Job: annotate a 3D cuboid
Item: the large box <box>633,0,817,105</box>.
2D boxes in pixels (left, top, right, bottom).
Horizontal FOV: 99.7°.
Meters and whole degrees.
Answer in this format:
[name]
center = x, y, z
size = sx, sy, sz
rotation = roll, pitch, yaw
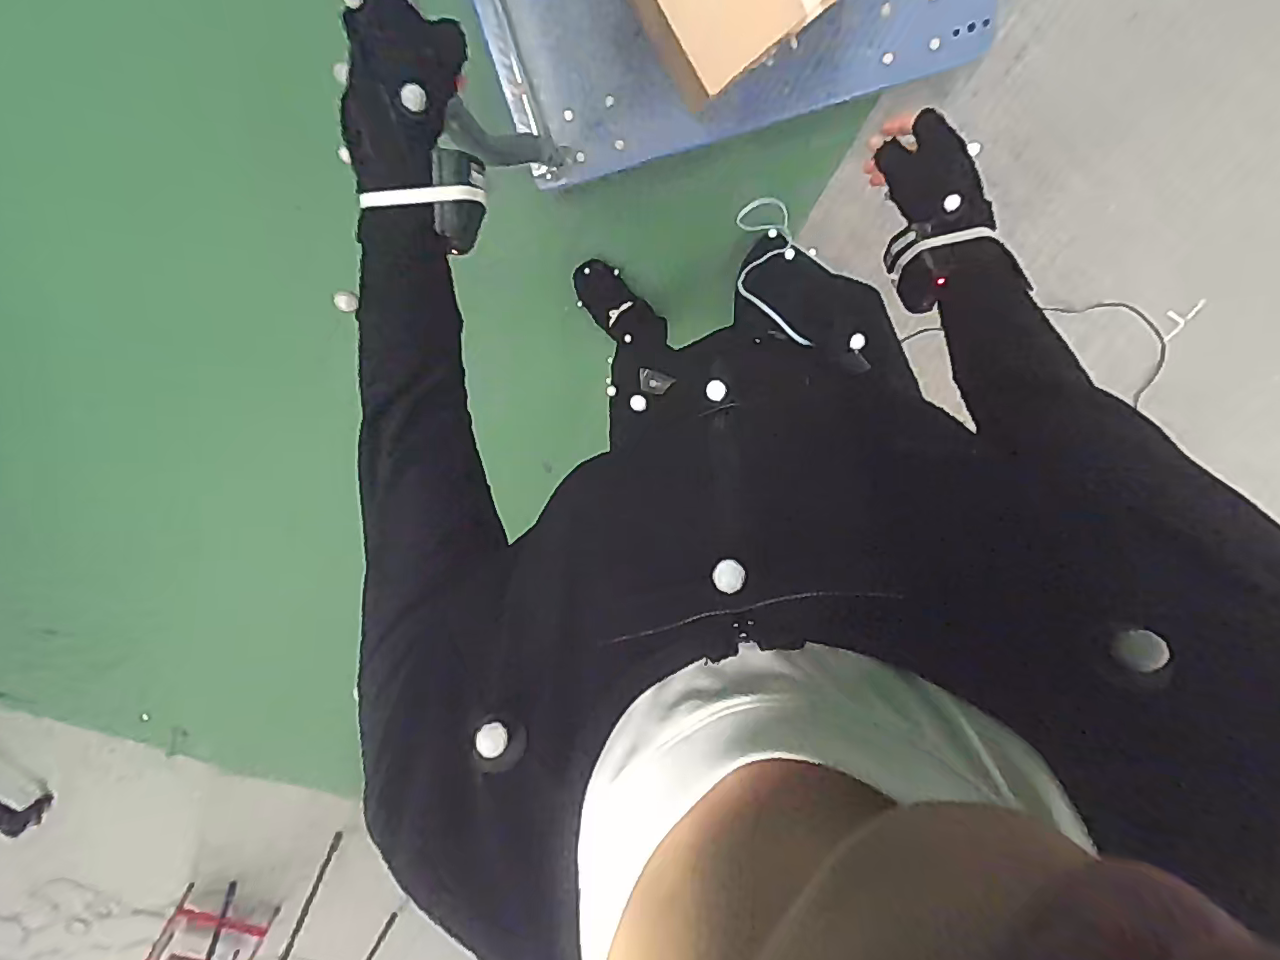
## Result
[large box]
center = 0.099, -0.834, 0.756
size = 0.320, 0.320, 0.408
rotation = -32, 114, 18
